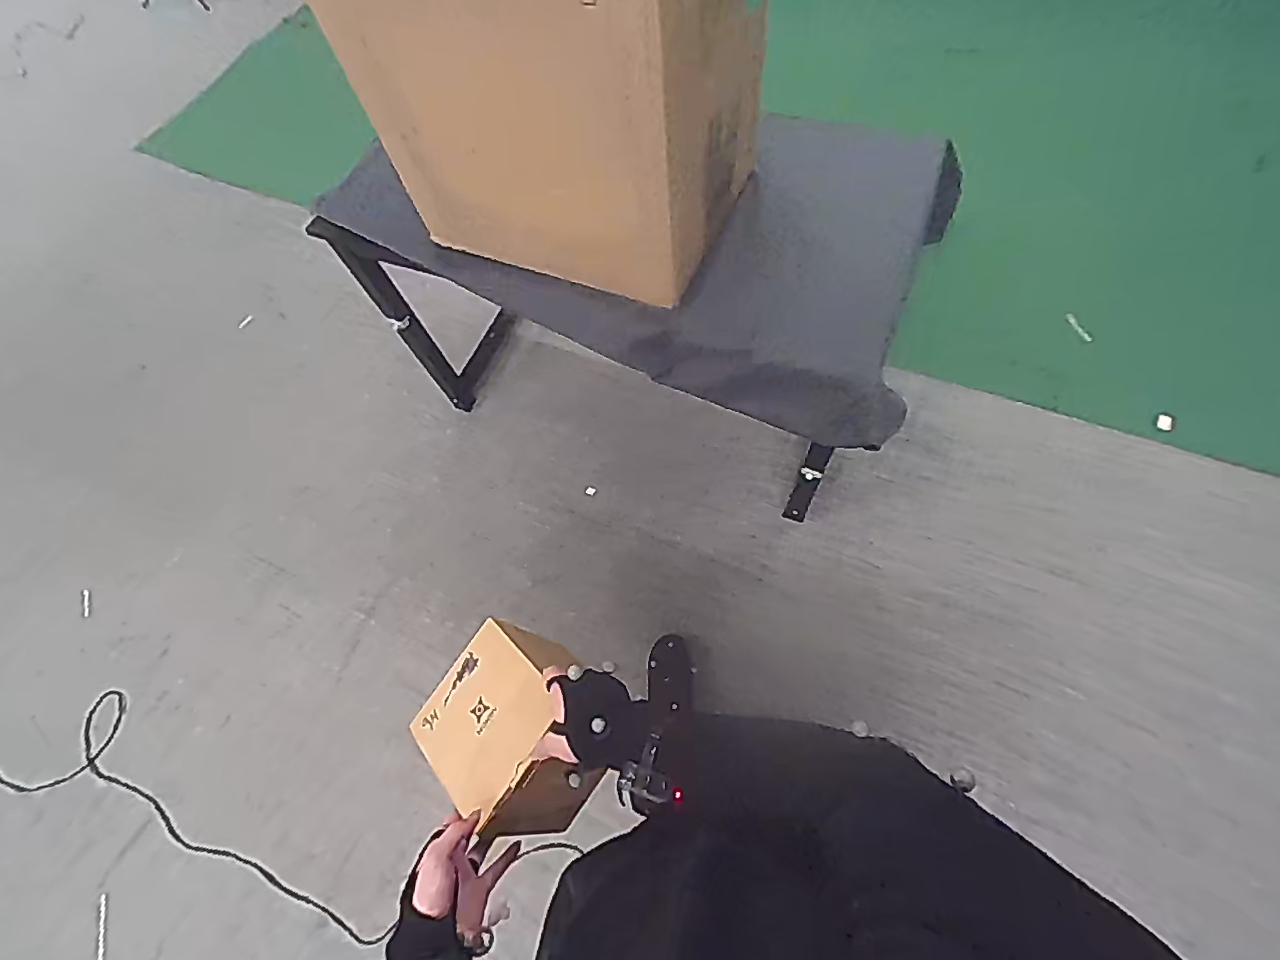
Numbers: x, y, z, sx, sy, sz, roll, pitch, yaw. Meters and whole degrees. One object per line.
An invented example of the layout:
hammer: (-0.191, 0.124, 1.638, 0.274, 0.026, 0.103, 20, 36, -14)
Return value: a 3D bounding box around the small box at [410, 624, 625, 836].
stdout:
small box: (-0.151, 0.317, 0.700, 0.179, 0.176, 0.168, 29, 80, 39)
